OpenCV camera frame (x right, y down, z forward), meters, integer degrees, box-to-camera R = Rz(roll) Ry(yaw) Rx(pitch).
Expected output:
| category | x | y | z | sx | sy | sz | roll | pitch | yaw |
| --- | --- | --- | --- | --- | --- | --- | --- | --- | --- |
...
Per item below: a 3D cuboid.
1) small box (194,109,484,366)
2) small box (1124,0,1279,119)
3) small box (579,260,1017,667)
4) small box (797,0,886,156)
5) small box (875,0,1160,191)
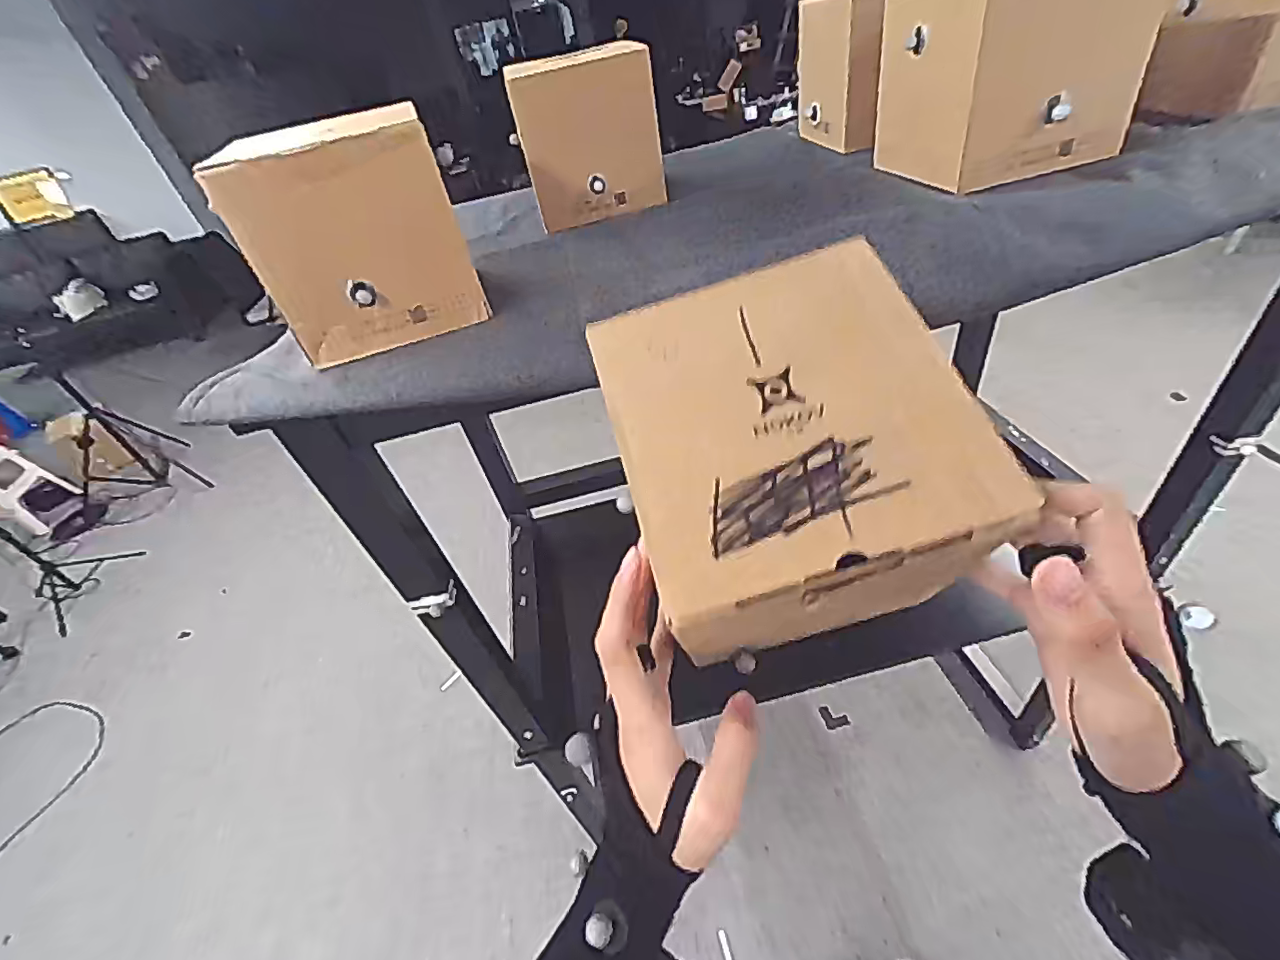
| category | x | y | z | sx | sy | sz | roll | pitch | yaw |
| --- | --- | --- | --- | --- | --- | --- | --- | --- | --- |
| small box | -0.263 | -0.233 | 0.516 | 0.168 | 0.176 | 0.179 | -20 | 42 | -9 |
| small box | 0.654 | -0.495 | 0.565 | 0.168 | 0.176 | 0.179 | -13 | 39 | 2 |
| small box | 0.077 | 0.008 | 0.338 | 0.168 | 0.176 | 0.179 | -17 | 62 | 2 |
| small box | 0.326 | -0.567 | 0.741 | 0.179 | 0.176 | 0.168 | -13 | 40 | 0 |
| small box | 0.358 | -0.410 | 0.548 | 0.168 | 0.176 | 0.179 | -14 | 39 | 0 |
